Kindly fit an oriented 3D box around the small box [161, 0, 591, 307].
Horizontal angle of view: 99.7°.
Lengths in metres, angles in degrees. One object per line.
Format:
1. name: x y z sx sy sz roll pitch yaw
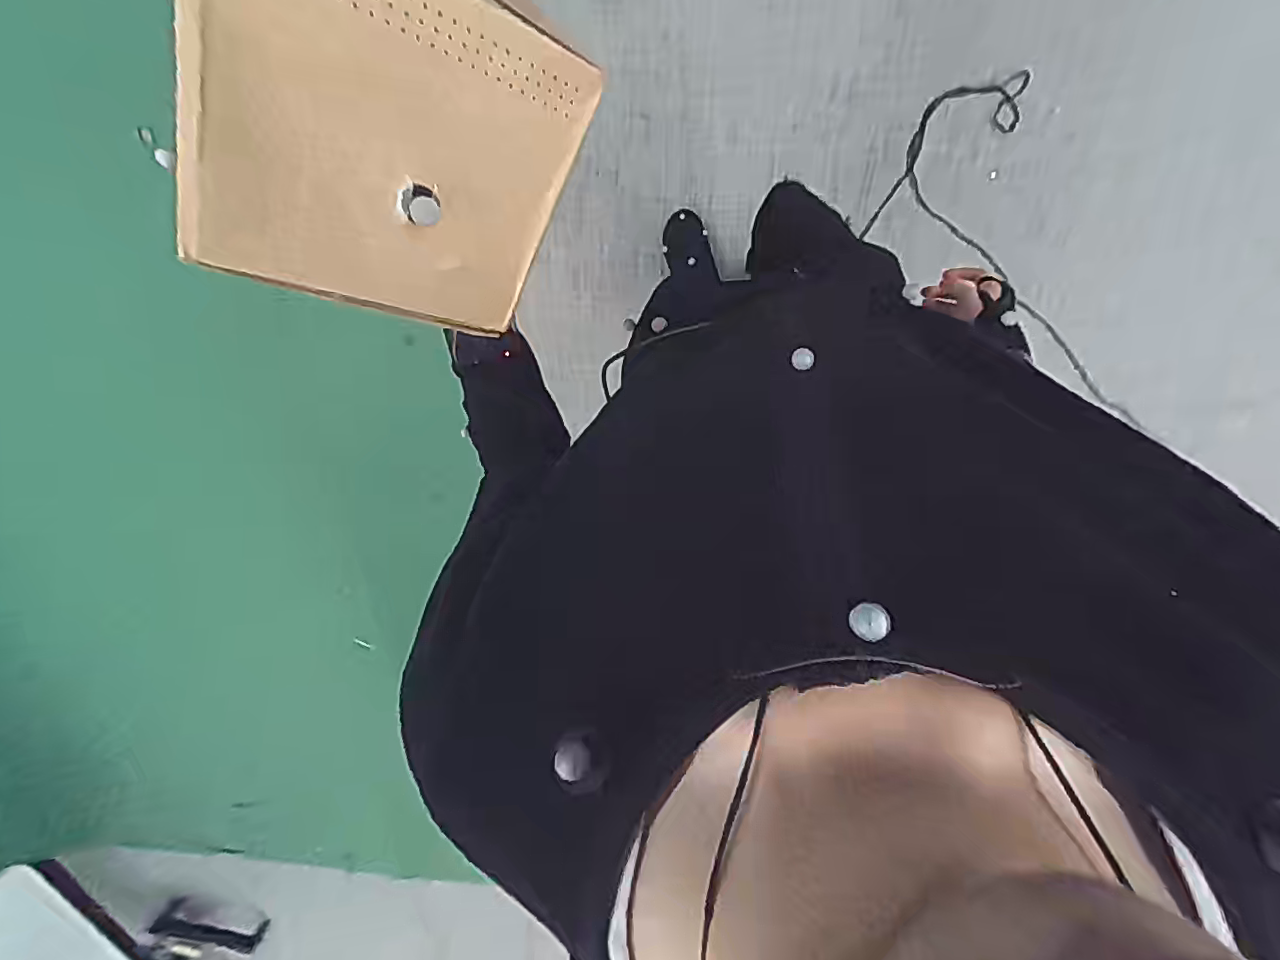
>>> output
1. small box: -0.152 -0.234 0.309 0.179 0.168 0.176 3 136 -38
